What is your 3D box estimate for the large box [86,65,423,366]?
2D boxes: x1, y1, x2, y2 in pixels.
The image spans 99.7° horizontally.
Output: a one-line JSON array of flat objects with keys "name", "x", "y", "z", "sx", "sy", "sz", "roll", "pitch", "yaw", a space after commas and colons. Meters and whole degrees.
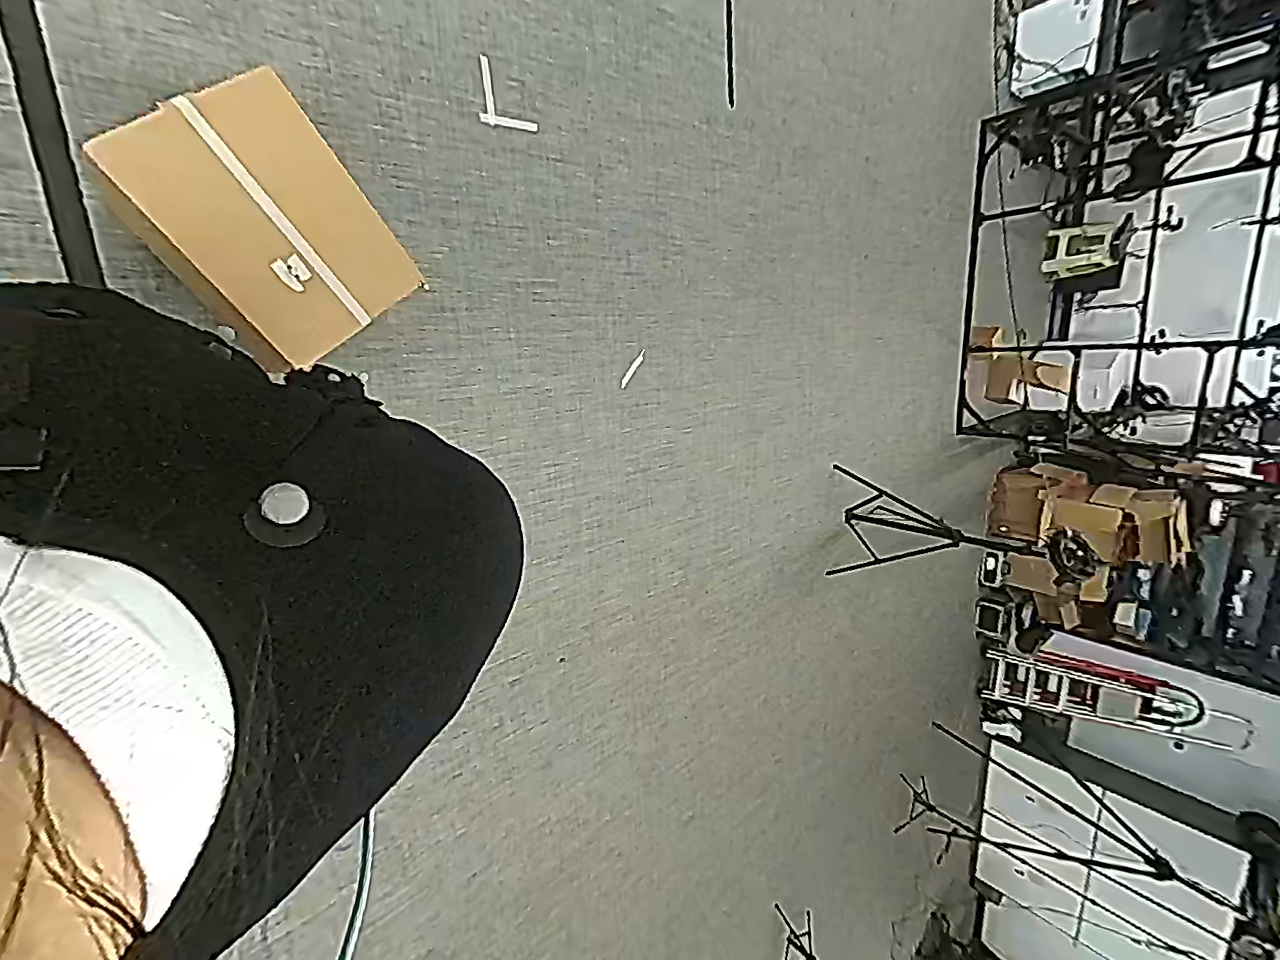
[{"name": "large box", "x": -0.726, "y": -0.475, "z": 1.057, "sx": 0.320, "sy": 0.320, "sz": 0.408, "roll": -49, "pitch": 127, "yaw": -23}]
